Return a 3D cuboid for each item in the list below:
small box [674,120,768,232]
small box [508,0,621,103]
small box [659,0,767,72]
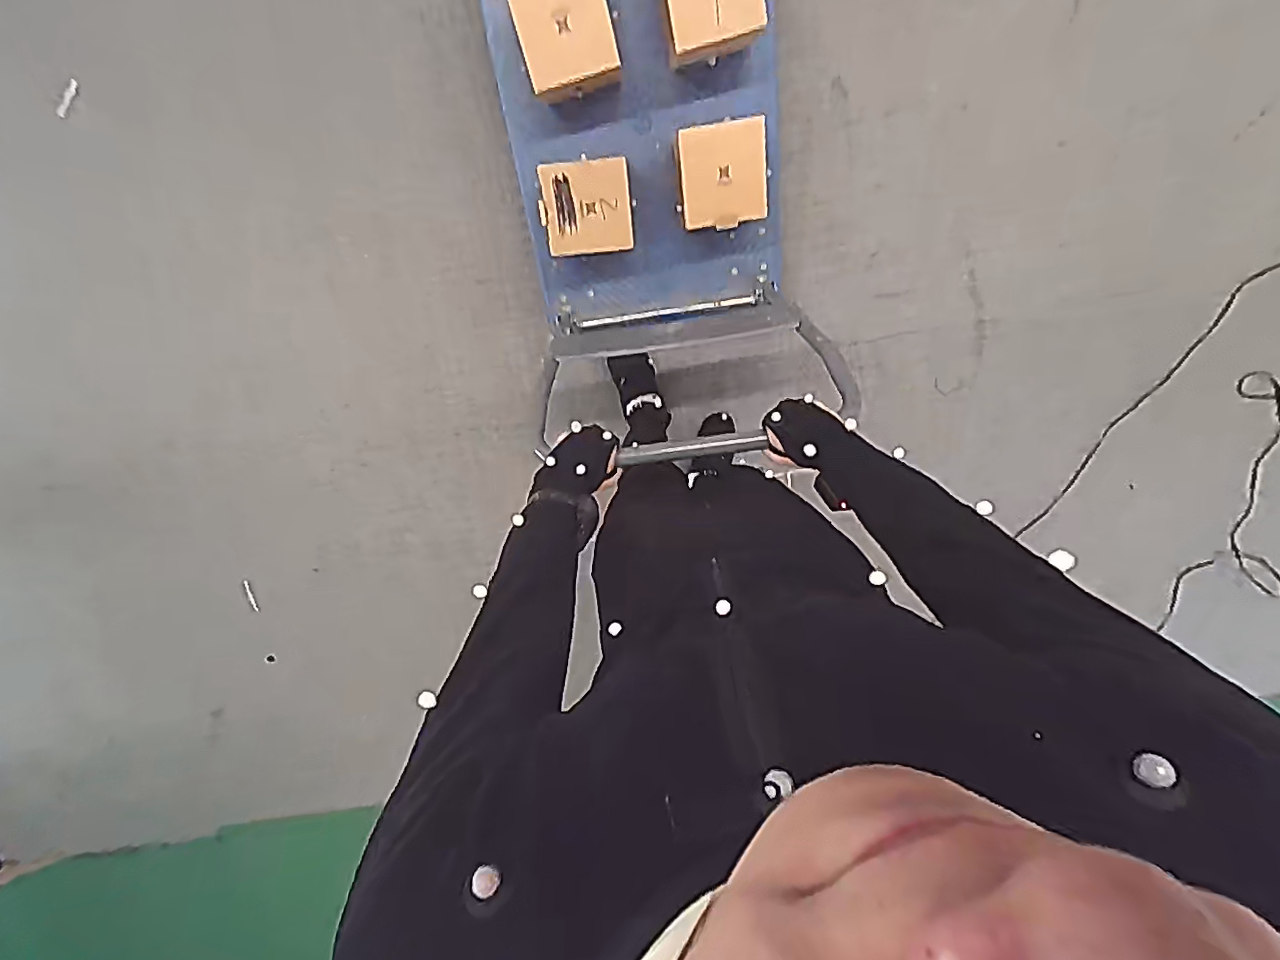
[{"bbox_3d":[0.165,-0.628,1.128,0.168,0.176,0.179,-8,119,4],"label":"small box"},{"bbox_3d":[-0.134,-0.832,1.012,0.168,0.176,0.179,-13,118,6],"label":"small box"},{"bbox_3d":[0.125,-0.884,0.987,0.168,0.176,0.179,-12,119,7],"label":"small box"}]
